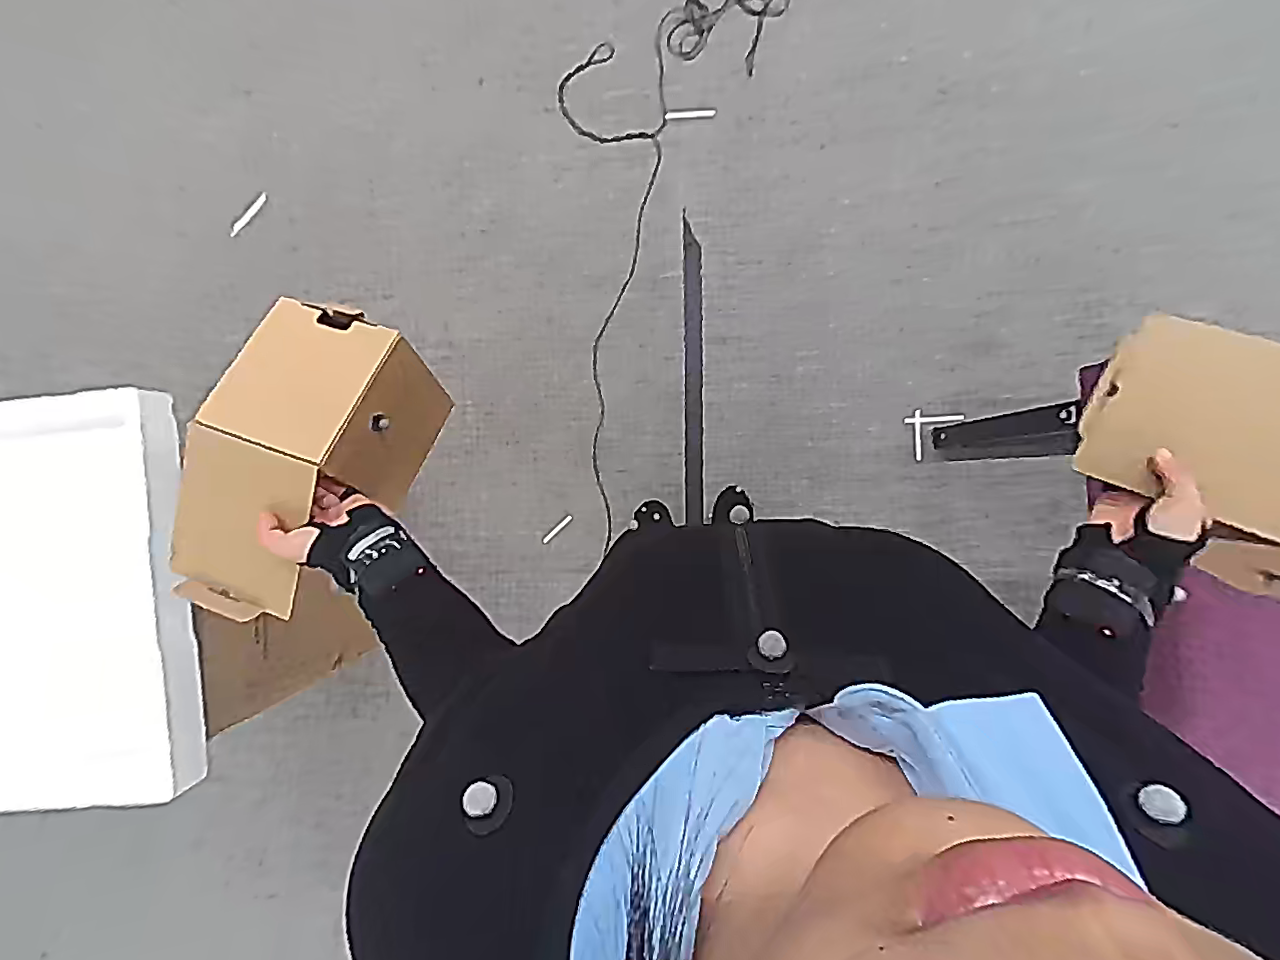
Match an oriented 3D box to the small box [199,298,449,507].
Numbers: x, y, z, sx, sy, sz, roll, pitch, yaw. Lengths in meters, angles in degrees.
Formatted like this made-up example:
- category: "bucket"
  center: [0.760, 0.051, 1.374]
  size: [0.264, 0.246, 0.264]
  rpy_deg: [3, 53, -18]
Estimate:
- category: "small box"
  center: [-0.366, -0.085, 0.667]
  size: [0.168, 0.176, 0.179]
  rpy_deg: [18, 71, 10]
